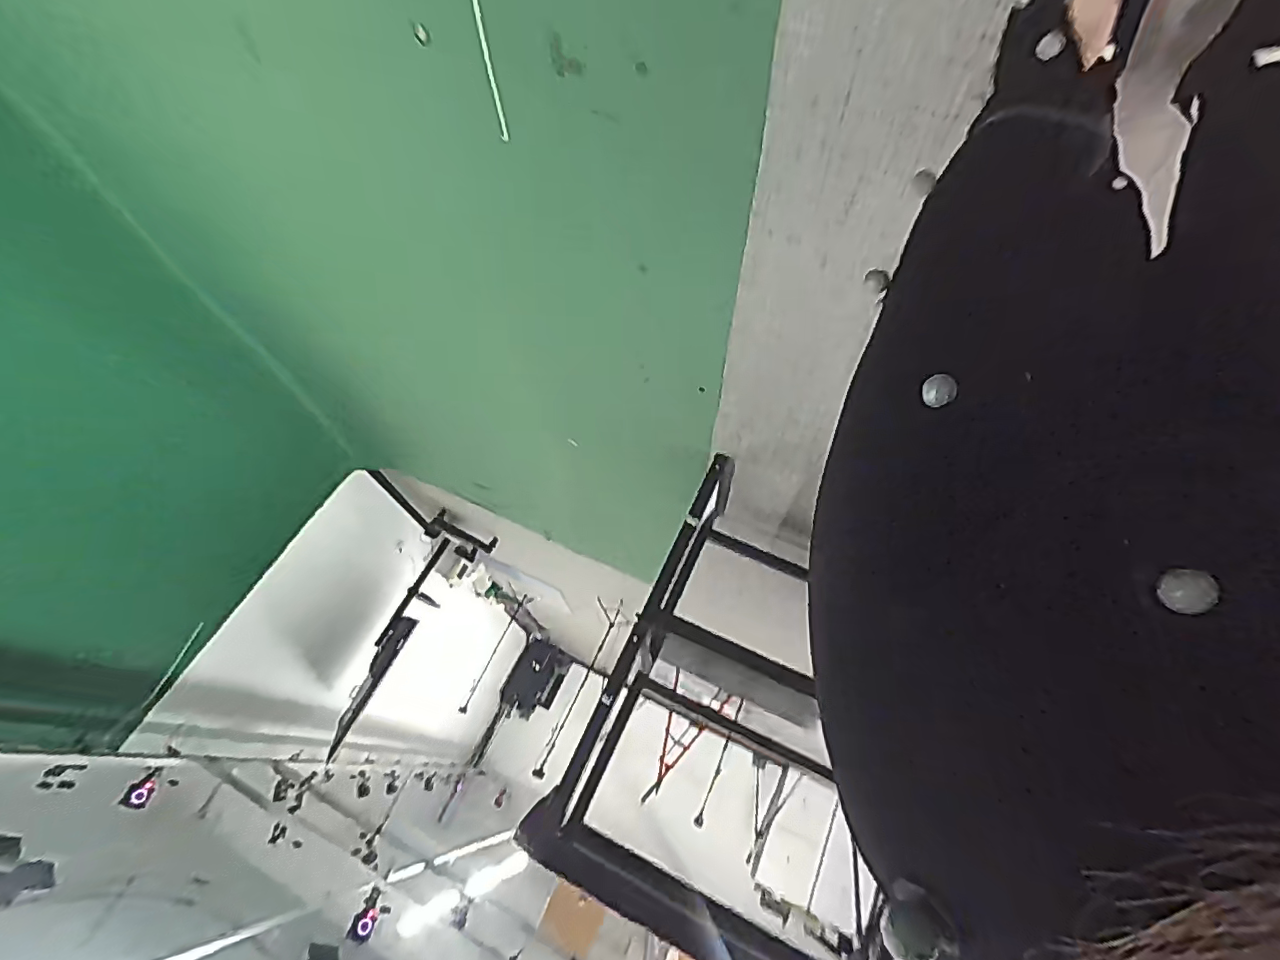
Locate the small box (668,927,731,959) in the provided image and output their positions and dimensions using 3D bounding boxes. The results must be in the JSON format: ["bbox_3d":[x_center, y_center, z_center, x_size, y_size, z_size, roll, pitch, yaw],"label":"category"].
[{"bbox_3d":[0.162,1.412,1.522,0.168,0.176,0.179,24,155,11],"label":"small box"}]

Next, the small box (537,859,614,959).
[{"bbox_3d":[-0.186,1.268,1.610,0.168,0.176,0.179,24,154,10],"label":"small box"}]
